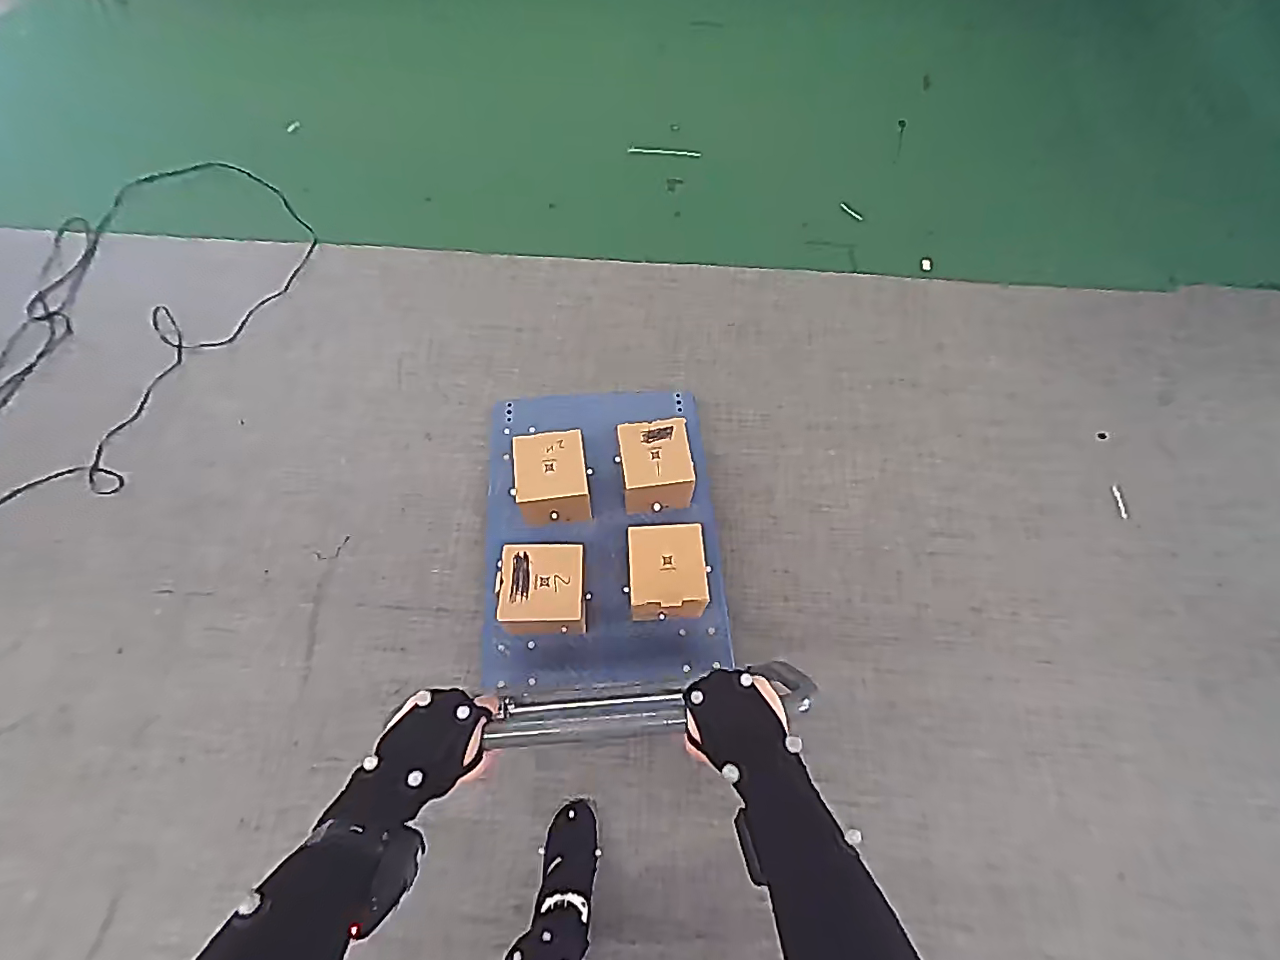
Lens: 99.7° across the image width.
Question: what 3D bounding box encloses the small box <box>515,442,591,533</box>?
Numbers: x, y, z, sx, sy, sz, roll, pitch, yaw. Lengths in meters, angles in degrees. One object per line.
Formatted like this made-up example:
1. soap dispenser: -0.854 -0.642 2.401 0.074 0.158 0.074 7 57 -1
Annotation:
1. small box: -0.215 0.026 1.354 0.168 0.176 0.179 -6 64 -6

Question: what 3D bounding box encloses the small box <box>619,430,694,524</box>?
1. small box: 0.034 -0.005 1.376 0.168 0.176 0.179 -7 65 -4

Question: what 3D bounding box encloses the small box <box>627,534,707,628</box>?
1. small box: 0.056 0.238 1.258 0.168 0.176 0.179 -3 64 -3
